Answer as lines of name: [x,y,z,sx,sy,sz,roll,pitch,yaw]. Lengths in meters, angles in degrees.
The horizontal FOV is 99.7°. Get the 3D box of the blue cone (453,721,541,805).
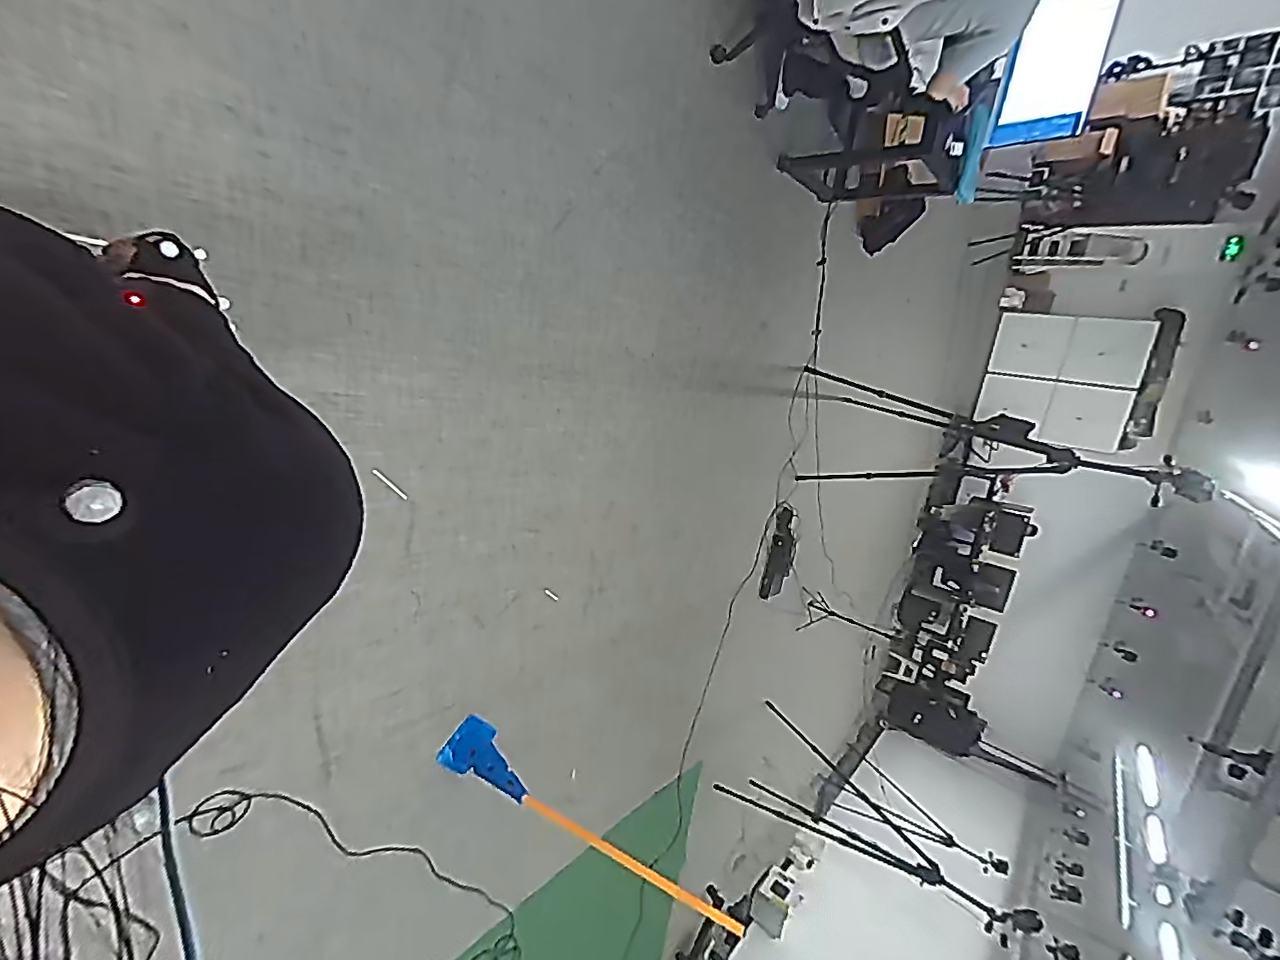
blue cone: [-0.504,1.081,2.008,0.193,0.380,0.192,-54,138,-24]
